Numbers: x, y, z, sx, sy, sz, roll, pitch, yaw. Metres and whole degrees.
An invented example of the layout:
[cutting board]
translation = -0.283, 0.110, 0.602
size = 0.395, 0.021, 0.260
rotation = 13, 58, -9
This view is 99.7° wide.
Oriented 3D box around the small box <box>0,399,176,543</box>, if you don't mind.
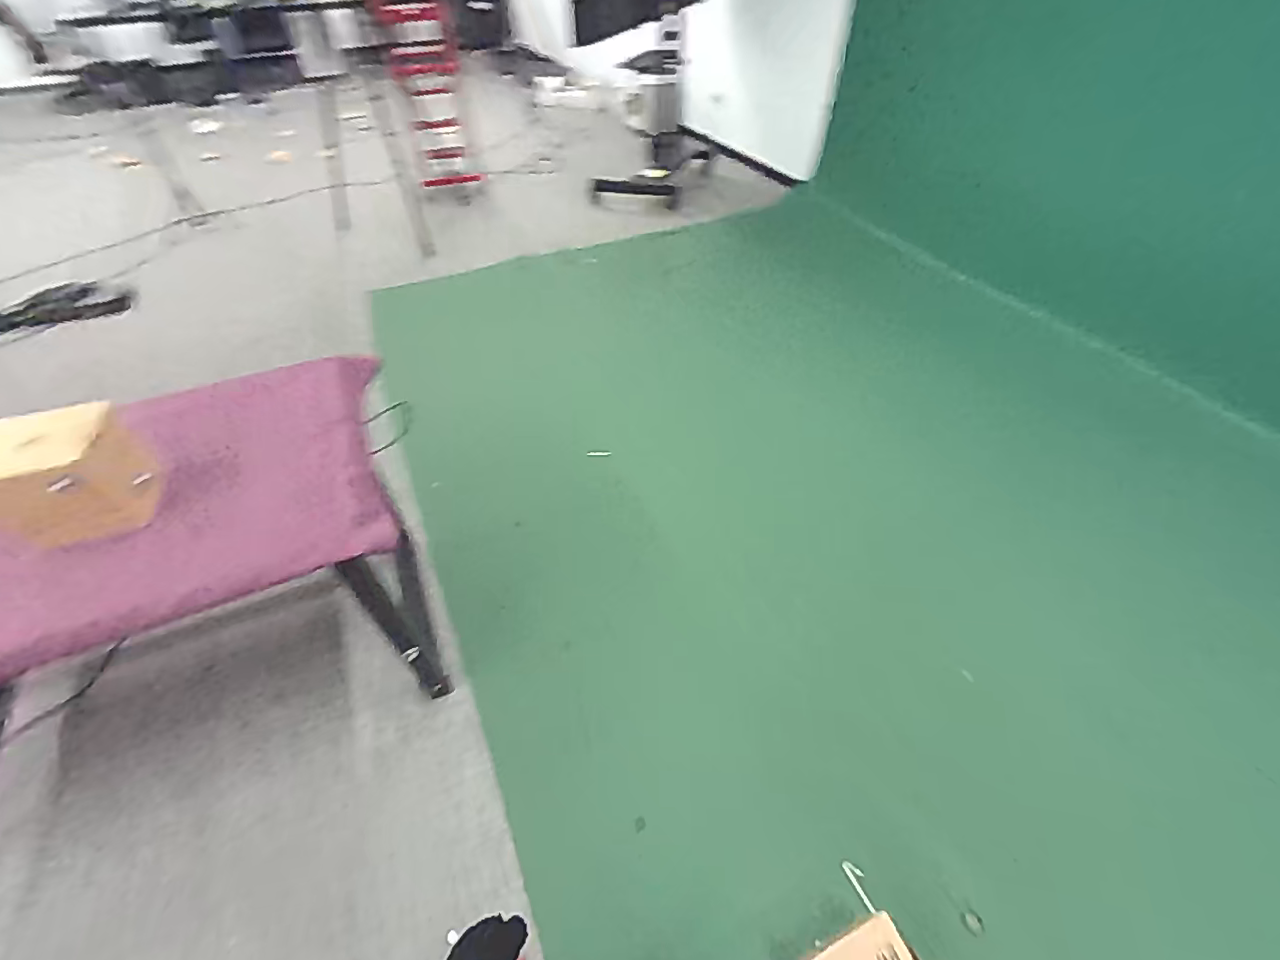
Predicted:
[small box]
translation = -0.981, -0.012, 0.949
size = 0.179, 0.176, 0.168
rotation = -15, 49, -12
